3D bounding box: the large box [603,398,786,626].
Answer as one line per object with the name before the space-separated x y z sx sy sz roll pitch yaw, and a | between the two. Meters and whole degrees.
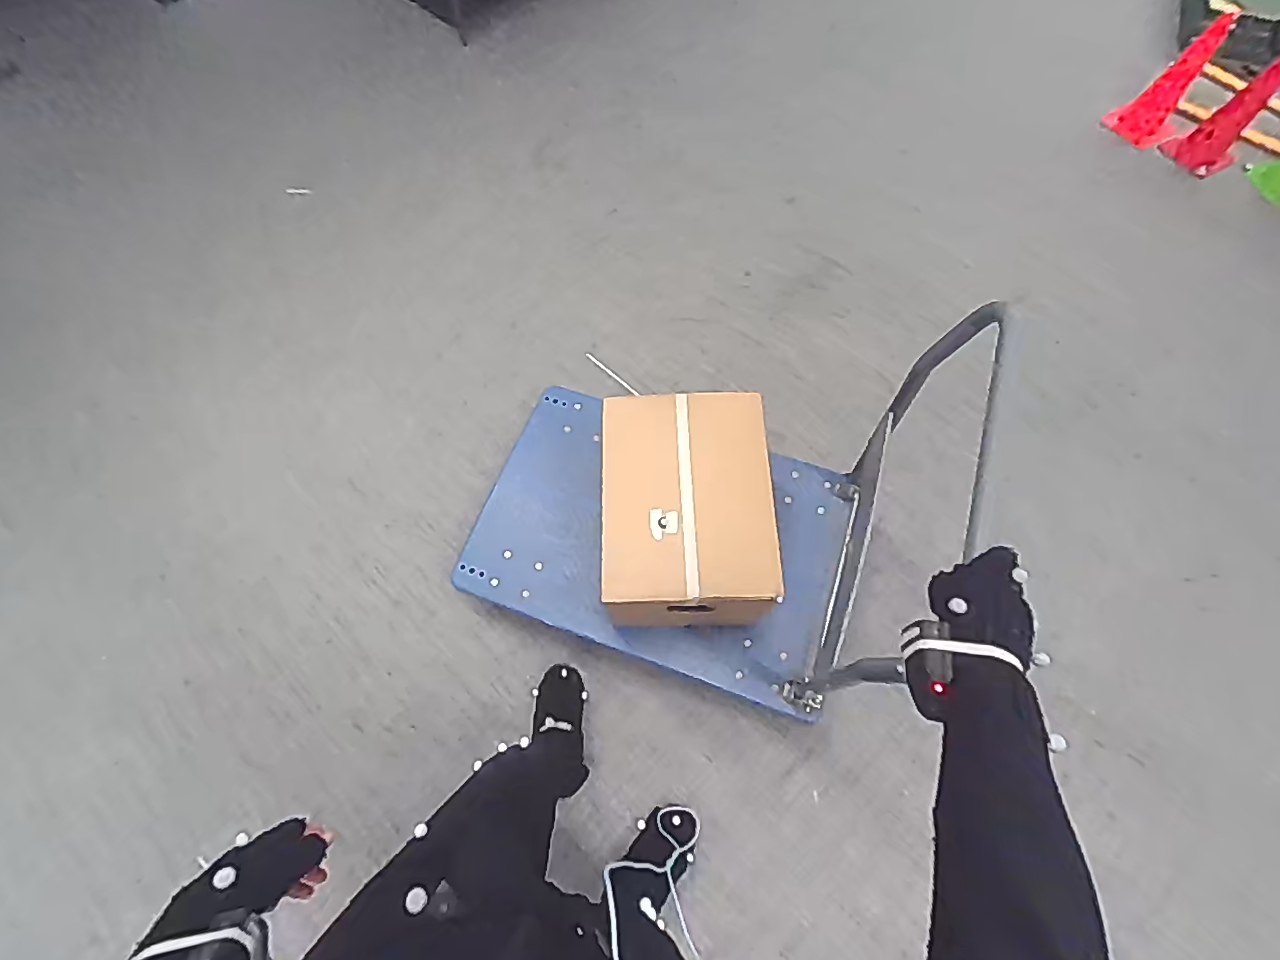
large box | 0.092 0.080 1.141 0.320 0.320 0.408 -3 68 1
